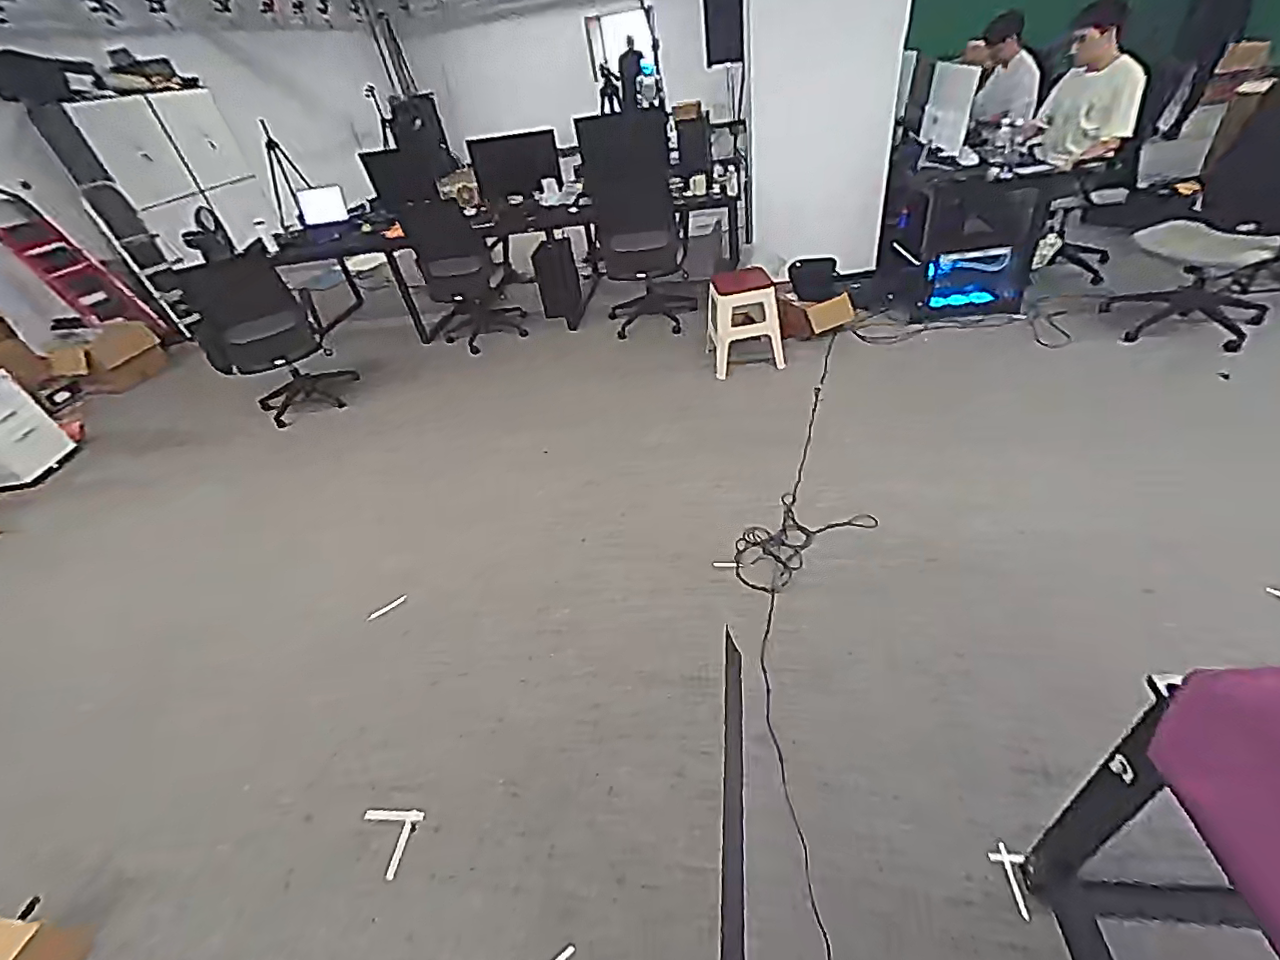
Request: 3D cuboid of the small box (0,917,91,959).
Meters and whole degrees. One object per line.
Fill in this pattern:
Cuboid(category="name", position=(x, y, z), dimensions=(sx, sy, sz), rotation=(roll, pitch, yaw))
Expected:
Cuboid(category="small box", position=(-1.466, 1.147, 1.257), dimensions=(0.179, 0.176, 0.168), rotation=(-1, 39, 13))
